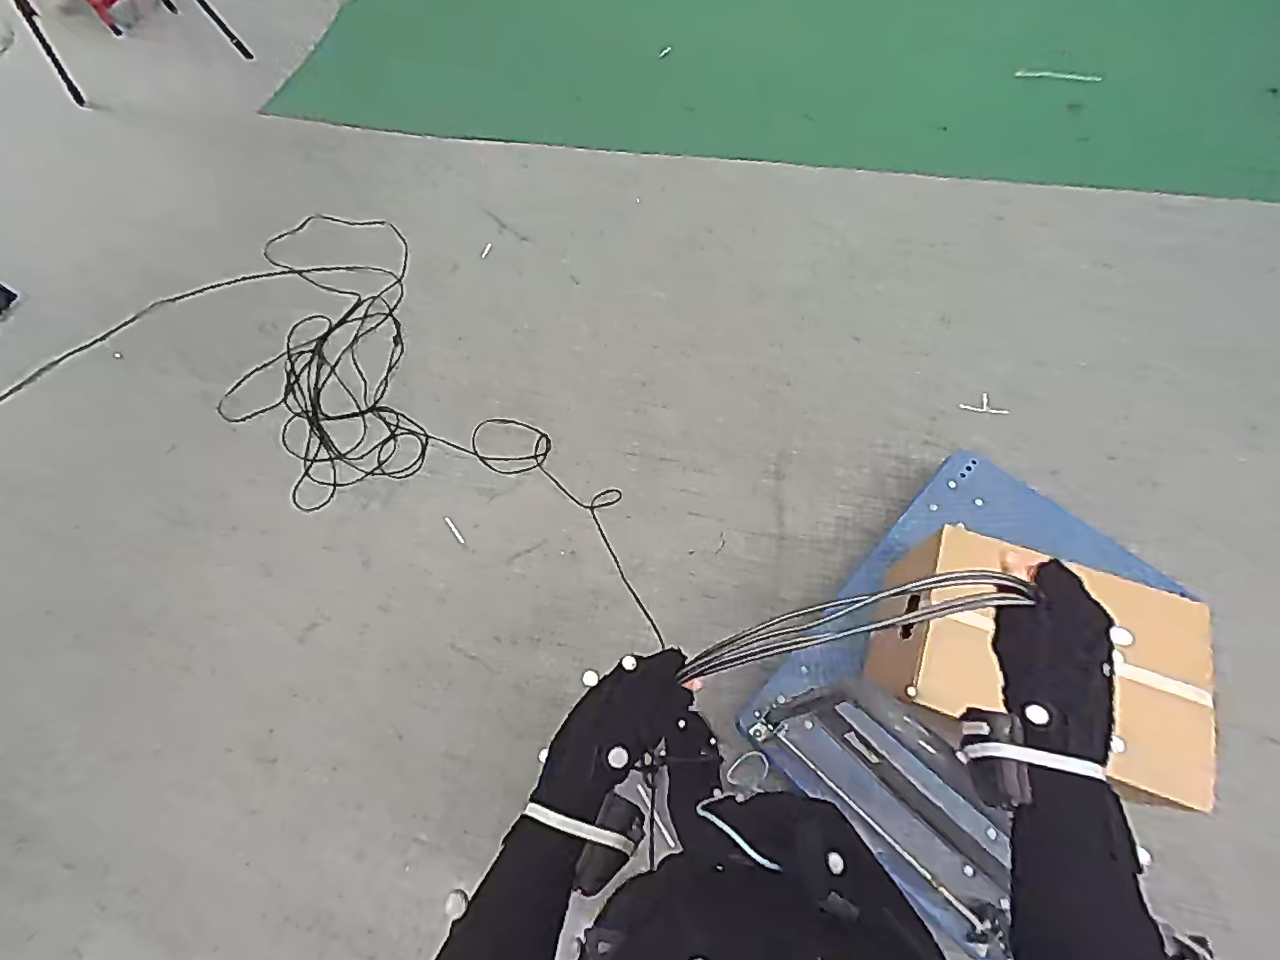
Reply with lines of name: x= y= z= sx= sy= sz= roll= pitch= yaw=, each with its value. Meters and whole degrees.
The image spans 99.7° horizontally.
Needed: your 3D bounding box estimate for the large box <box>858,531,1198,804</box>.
large box: x=0.674 y=0.337 z=0.997 sx=0.408 sy=0.320 sz=0.320 roll=18 pitch=67 yaw=13
